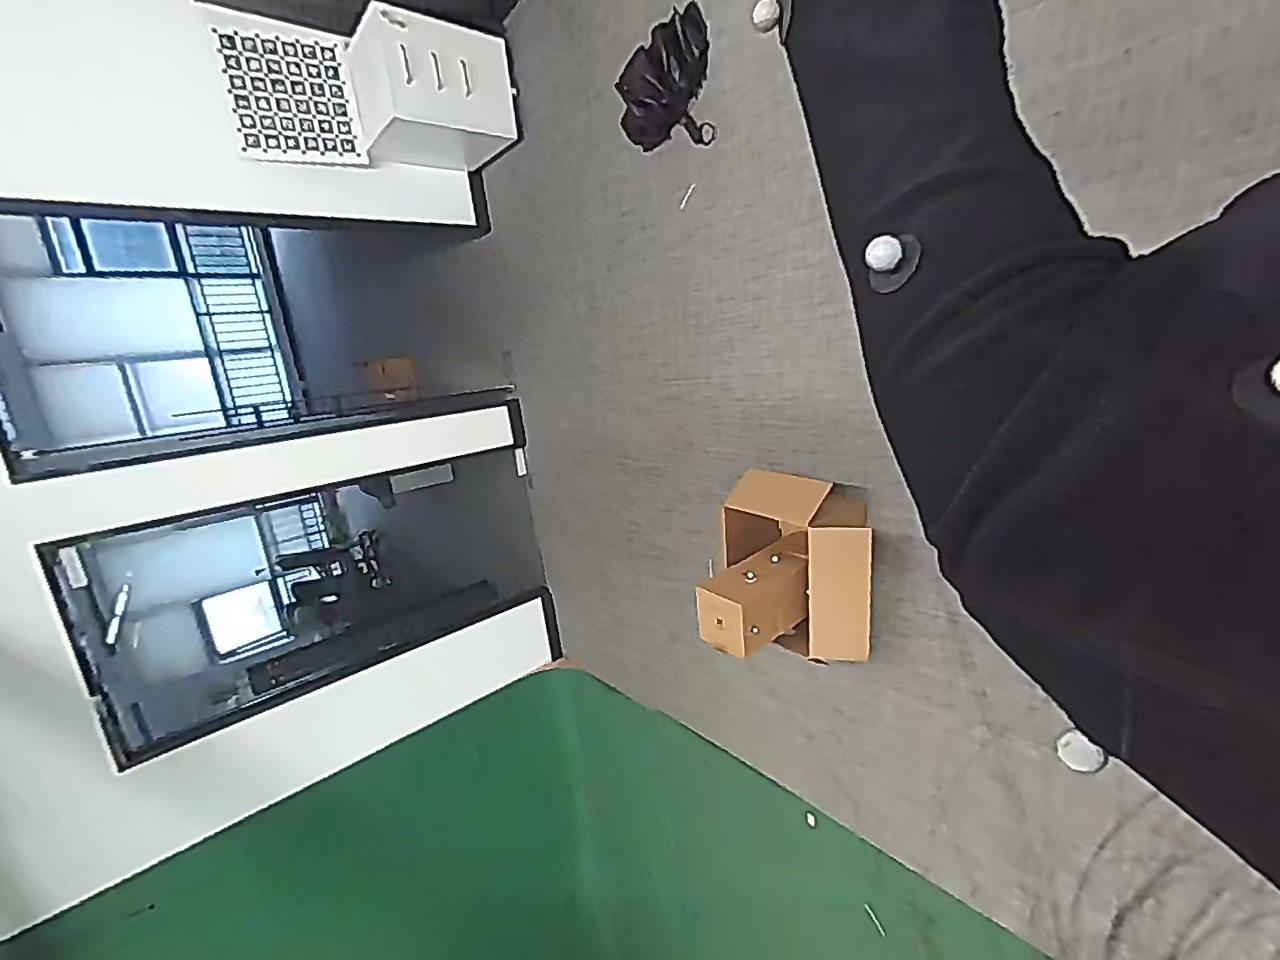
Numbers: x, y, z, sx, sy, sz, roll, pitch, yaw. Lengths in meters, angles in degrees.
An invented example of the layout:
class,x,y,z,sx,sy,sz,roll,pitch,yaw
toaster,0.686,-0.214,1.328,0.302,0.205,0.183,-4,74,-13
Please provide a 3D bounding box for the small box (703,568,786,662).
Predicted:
class,x,y,z,sx,sy,sz,roll,pitch,yaw
small box,0.300,0.377,1.534,0.168,0.176,0.179,12,115,47
